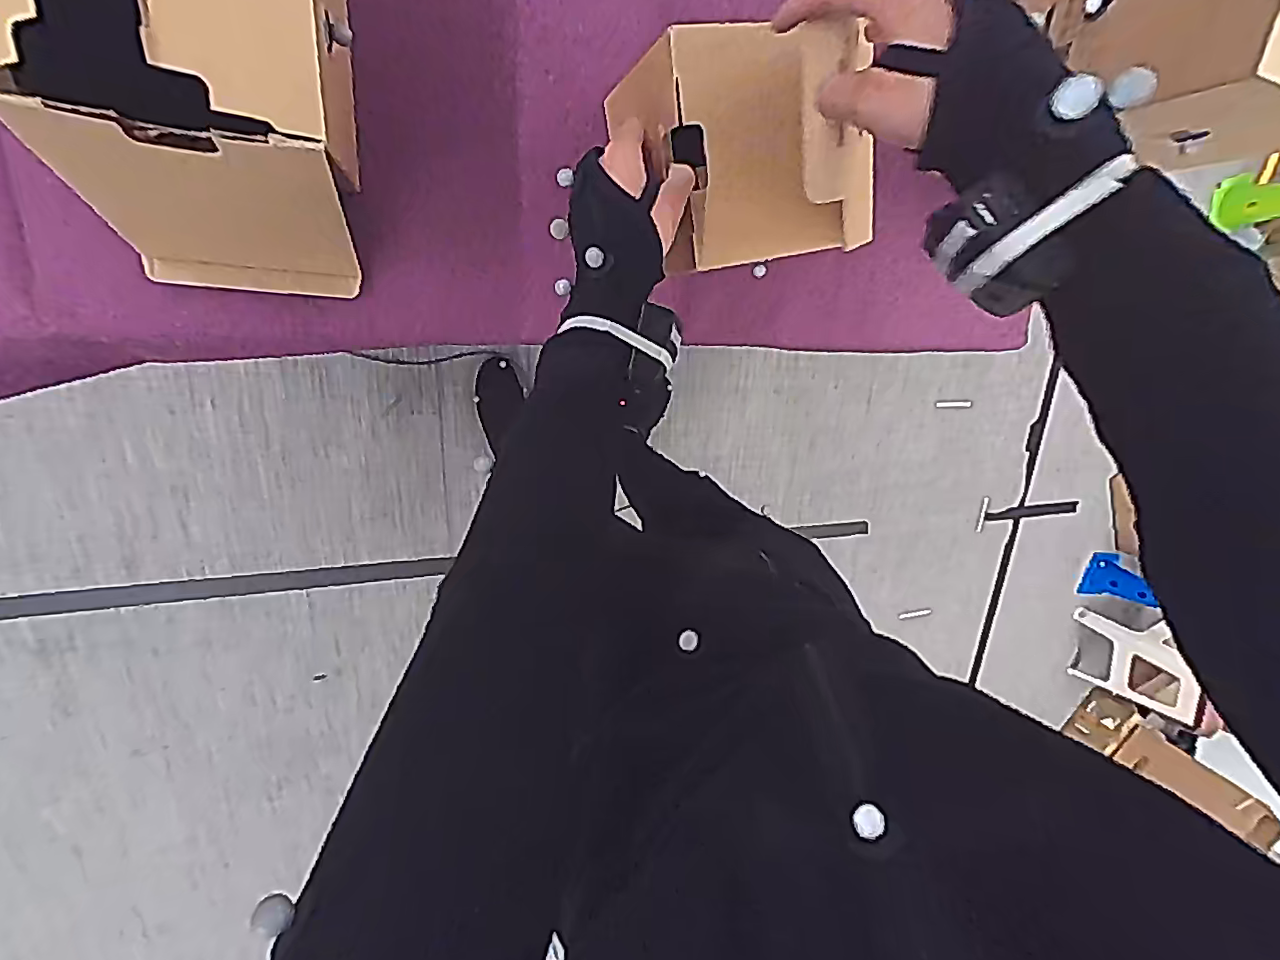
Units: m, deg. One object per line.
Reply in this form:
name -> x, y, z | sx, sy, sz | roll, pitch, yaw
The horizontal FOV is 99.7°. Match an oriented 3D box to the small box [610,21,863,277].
small box -> 0.079, -0.288, 0.502 | 0.179, 0.176, 0.168 | -16, 113, -16

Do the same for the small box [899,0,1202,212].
small box -> 0.432, -0.417, 0.589 | 0.179, 0.176, 0.168 | 23, 98, -25
